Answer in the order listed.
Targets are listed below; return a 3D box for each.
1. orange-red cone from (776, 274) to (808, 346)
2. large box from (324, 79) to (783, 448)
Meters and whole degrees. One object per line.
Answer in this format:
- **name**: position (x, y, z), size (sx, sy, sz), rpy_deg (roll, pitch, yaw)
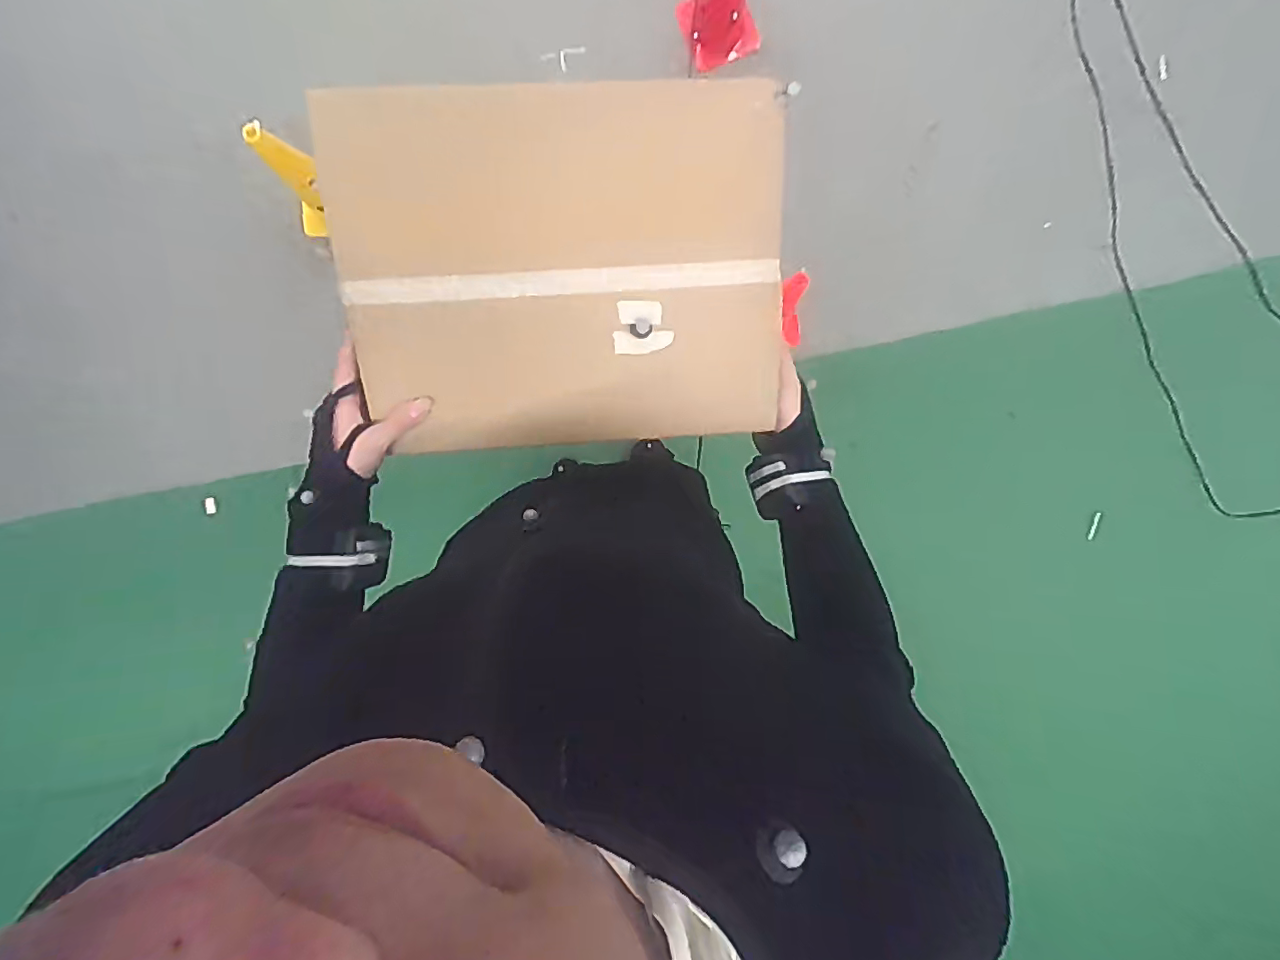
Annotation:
- **orange-red cone**: position (0.370, -0.479, 1.434), size (0.199, 0.360, 0.198), rpy_deg (-4, 95, -2)
- **large box**: position (-0.077, -0.238, 0.652), size (0.408, 0.320, 0.320), rpy_deg (-4, 109, -4)
